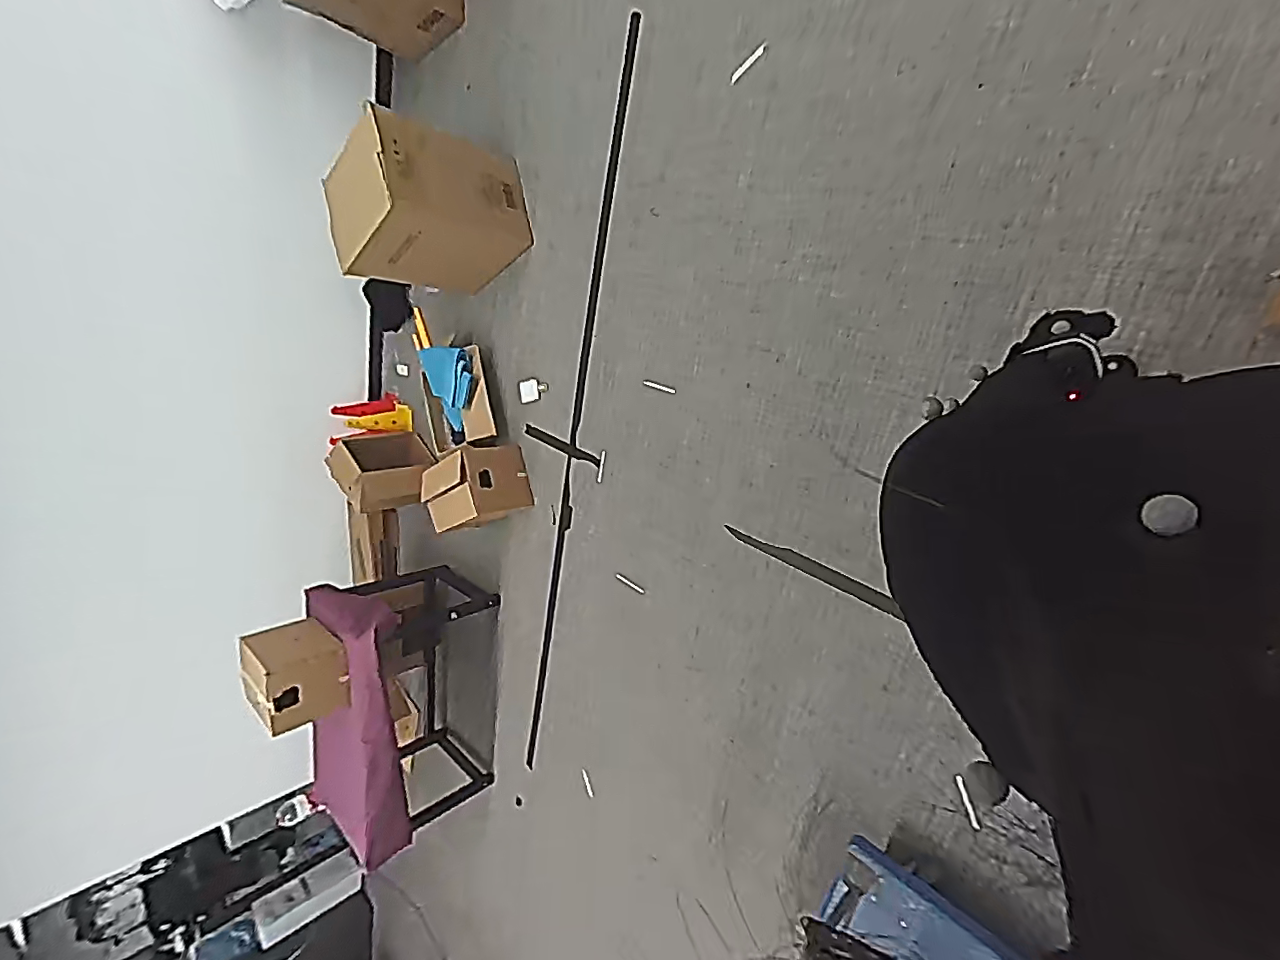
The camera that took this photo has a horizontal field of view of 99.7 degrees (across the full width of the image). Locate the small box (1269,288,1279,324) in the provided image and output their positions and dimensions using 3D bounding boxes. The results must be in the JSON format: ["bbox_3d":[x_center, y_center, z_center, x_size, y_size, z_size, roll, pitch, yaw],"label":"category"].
[{"bbox_3d":[1.185,-0.336,0.872,0.179,0.176,0.168,21,110,39],"label":"small box"}]
